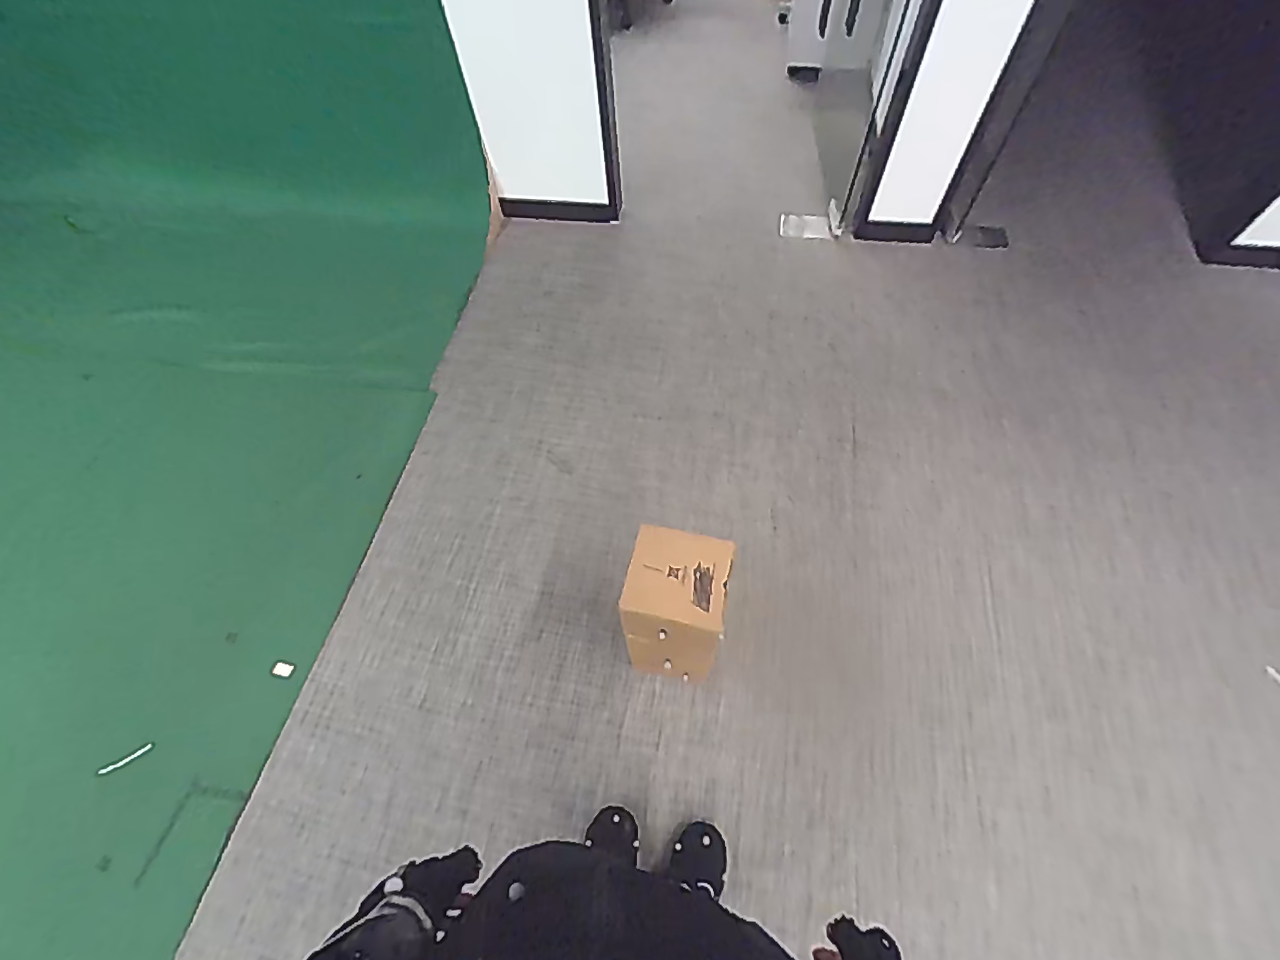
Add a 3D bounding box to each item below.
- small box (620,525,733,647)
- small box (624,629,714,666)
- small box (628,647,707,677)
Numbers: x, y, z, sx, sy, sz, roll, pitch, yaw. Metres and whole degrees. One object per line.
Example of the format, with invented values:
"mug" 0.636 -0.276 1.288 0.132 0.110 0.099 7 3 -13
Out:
"small box" 0.068 0.204 1.013 0.179 0.176 0.168 9 61 7
"small box" 0.073 0.287 1.155 0.179 0.176 0.168 10 61 8
"small box" 0.078 0.366 1.298 0.179 0.176 0.168 8 60 9
